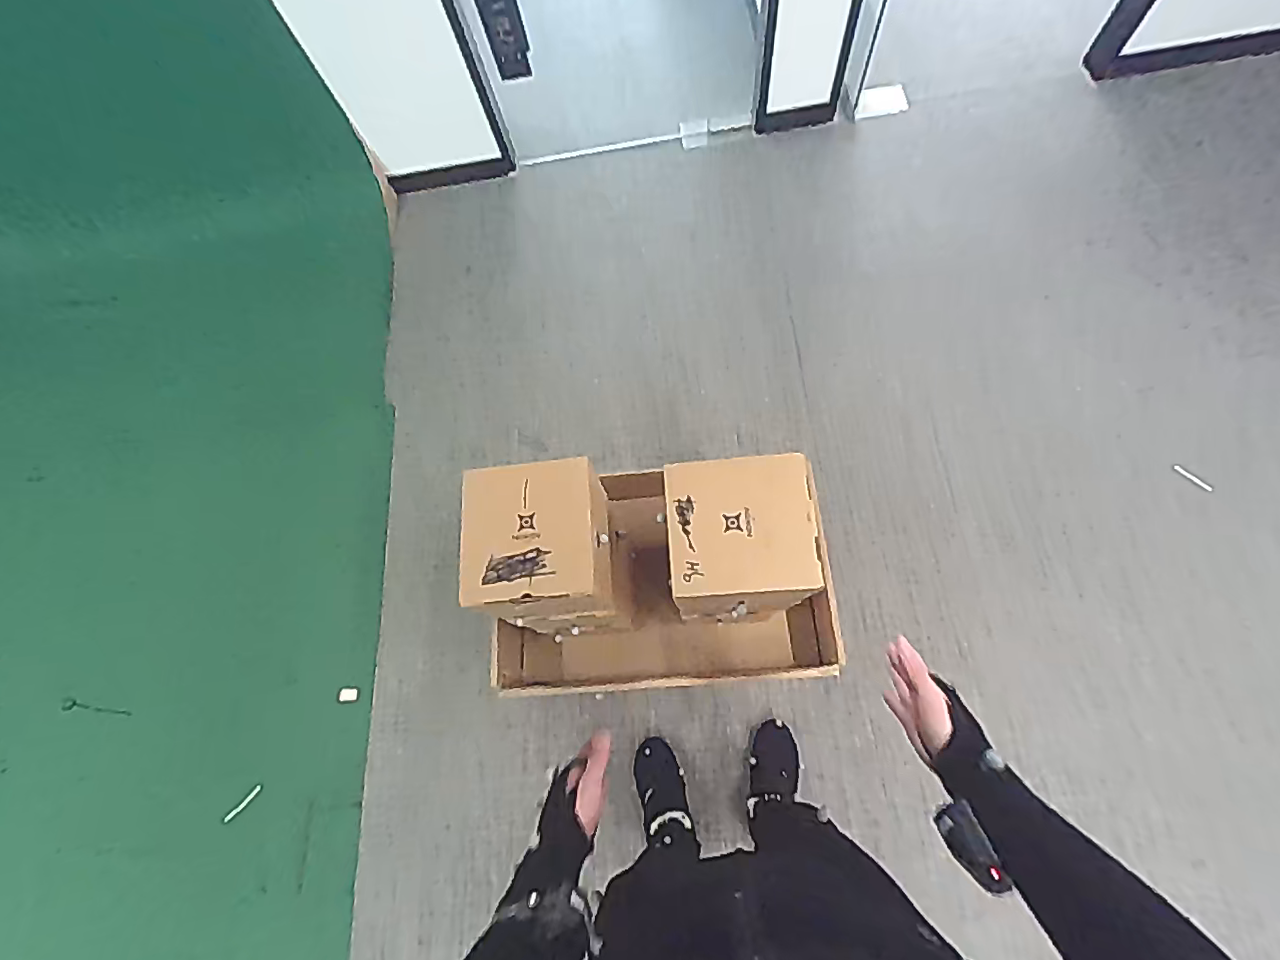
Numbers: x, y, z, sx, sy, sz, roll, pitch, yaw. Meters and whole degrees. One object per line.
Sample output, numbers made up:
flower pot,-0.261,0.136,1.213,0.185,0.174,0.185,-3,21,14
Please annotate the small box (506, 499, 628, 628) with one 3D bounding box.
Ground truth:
small box,-0.111,0.142,0.884,0.168,0.176,0.179,-4,70,4

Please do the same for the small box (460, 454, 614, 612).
small box,-0.130,0.081,0.732,0.168,0.176,0.179,-6,70,3

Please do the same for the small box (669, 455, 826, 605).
small box,0.128,0.074,0.715,0.179,0.176,0.168,-3,72,3

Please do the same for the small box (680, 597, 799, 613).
small box,0.146,0.123,0.869,0.179,0.176,0.168,-3,72,4
